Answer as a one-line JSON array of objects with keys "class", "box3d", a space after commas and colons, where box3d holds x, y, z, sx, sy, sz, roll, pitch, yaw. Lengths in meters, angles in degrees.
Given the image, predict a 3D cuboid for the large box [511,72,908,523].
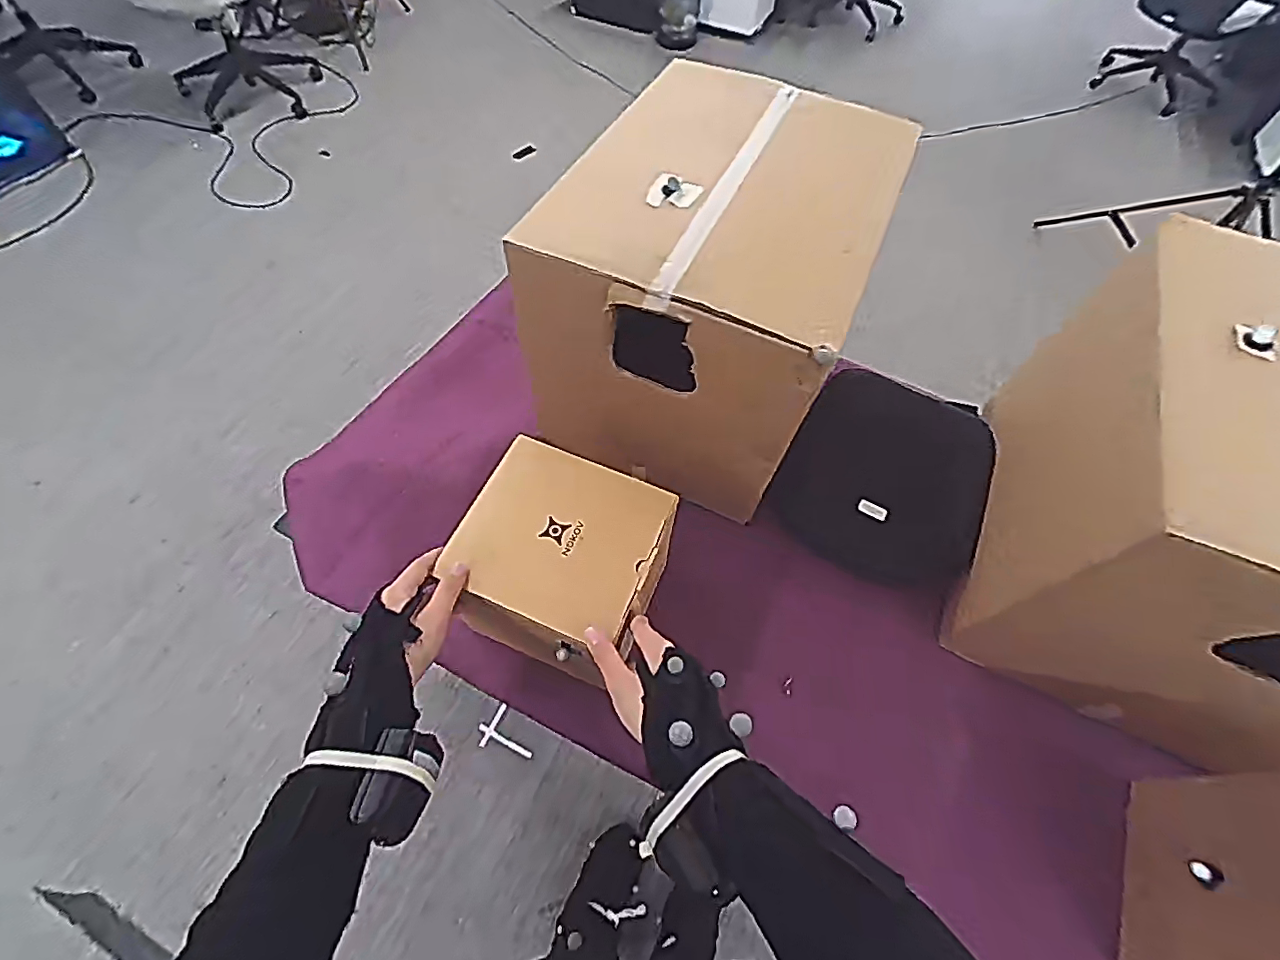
[{"class": "large box", "box3d": [0.089, -0.224, 0.689, 0.320, 0.320, 0.408, 22, 62, 10]}]
